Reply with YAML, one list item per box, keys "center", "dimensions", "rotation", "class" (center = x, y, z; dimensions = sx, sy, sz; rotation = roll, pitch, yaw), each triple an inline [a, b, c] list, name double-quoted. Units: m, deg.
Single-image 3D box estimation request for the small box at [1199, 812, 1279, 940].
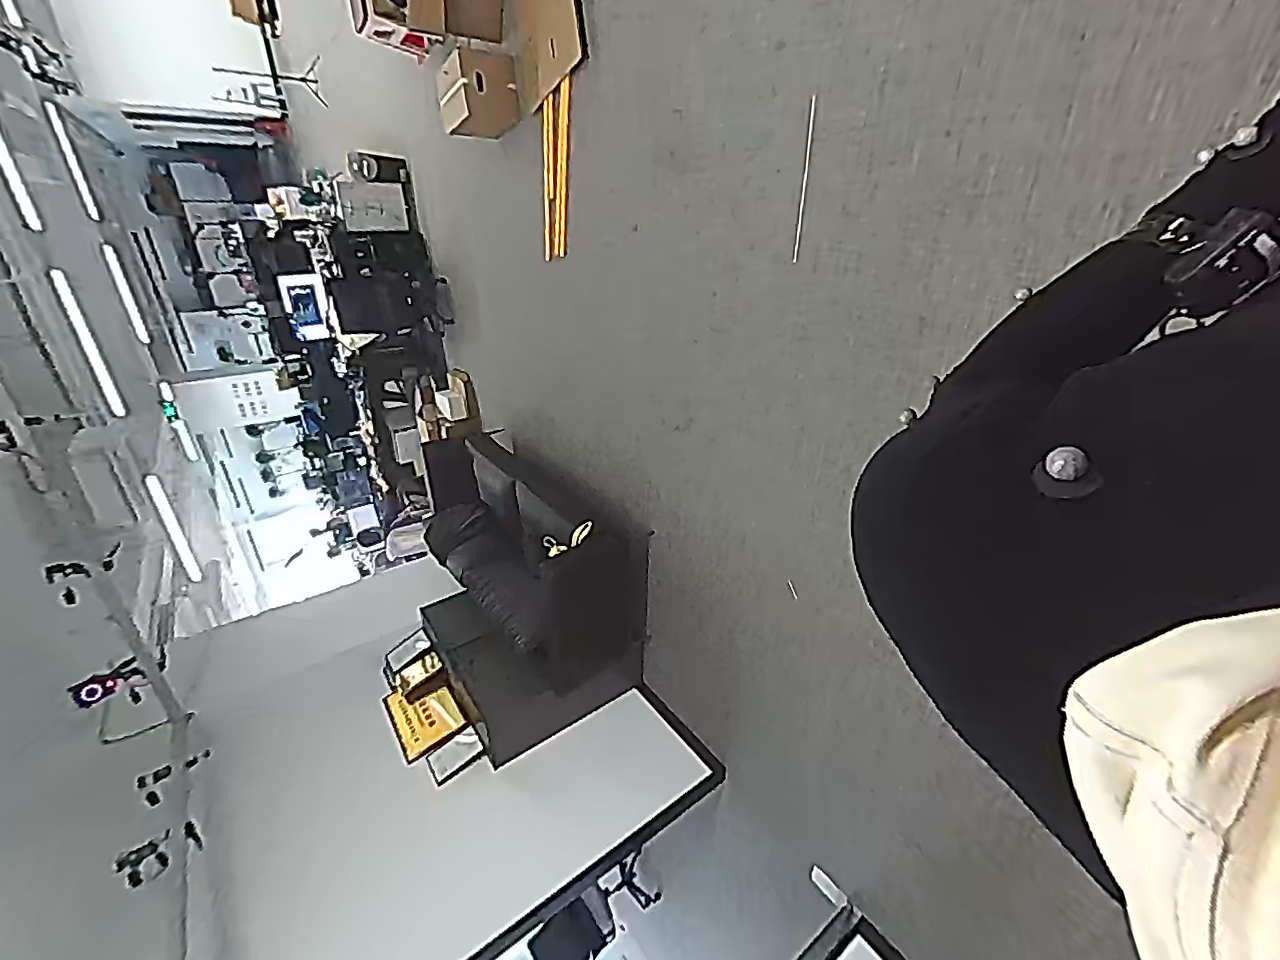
- center: [1.435, 0.892, 1.218]
  dimensions: [0.179, 0.176, 0.168]
  rotation: [32, 132, 45]
  class: "small box"
